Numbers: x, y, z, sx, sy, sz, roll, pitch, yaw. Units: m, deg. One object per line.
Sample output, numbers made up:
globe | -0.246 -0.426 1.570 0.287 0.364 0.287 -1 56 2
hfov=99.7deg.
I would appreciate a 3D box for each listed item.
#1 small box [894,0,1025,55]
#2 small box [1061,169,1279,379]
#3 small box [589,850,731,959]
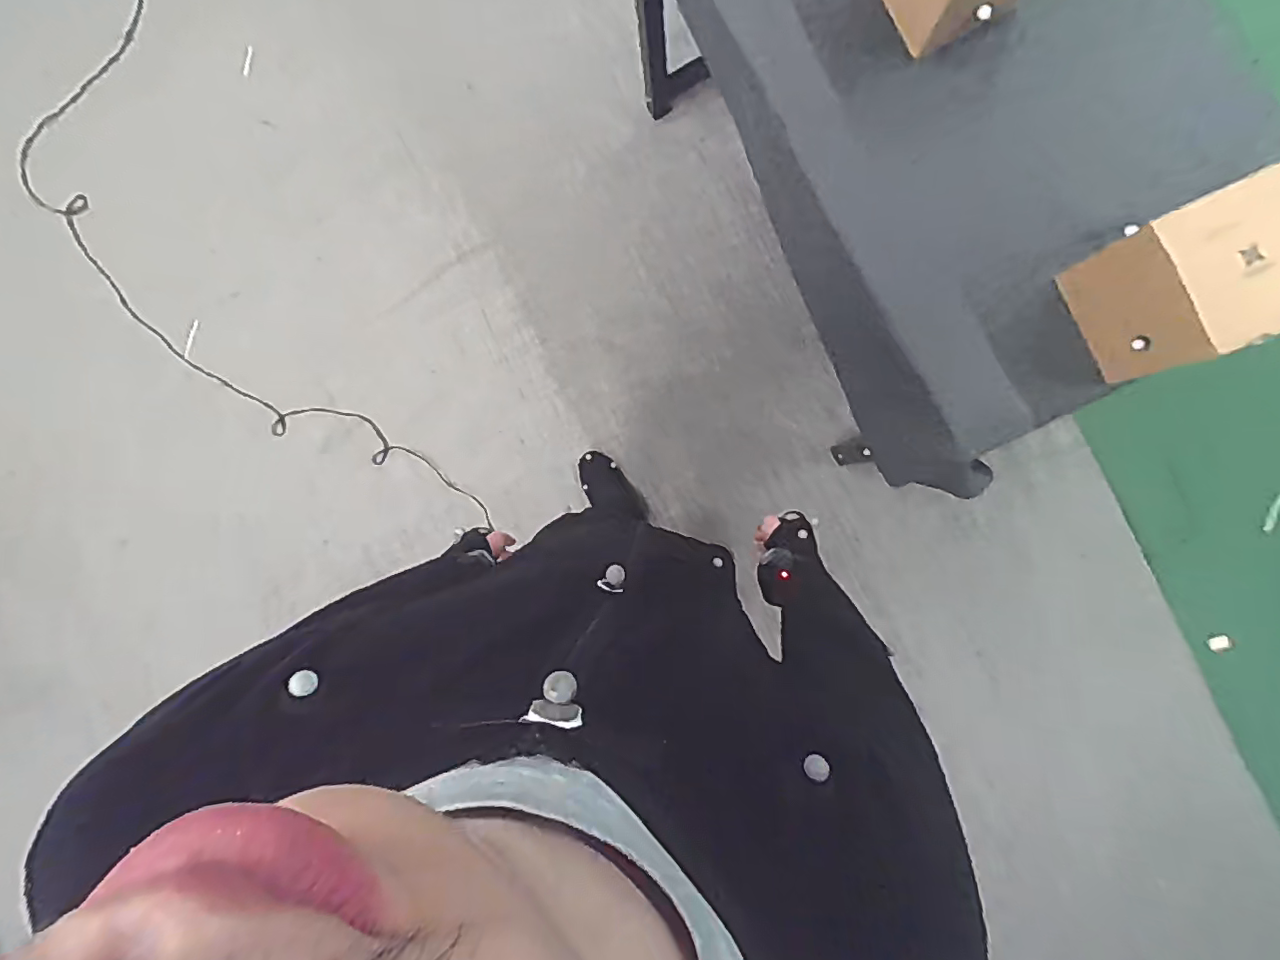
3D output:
small box | 0.440 -0.728 0.711 0.168 0.176 0.179 -26 89 5
small box | 0.698 -0.241 0.685 0.168 0.176 0.179 -25 86 4
small box | 0.043 0.753 0.878 0.179 0.176 0.168 -24 88 7
